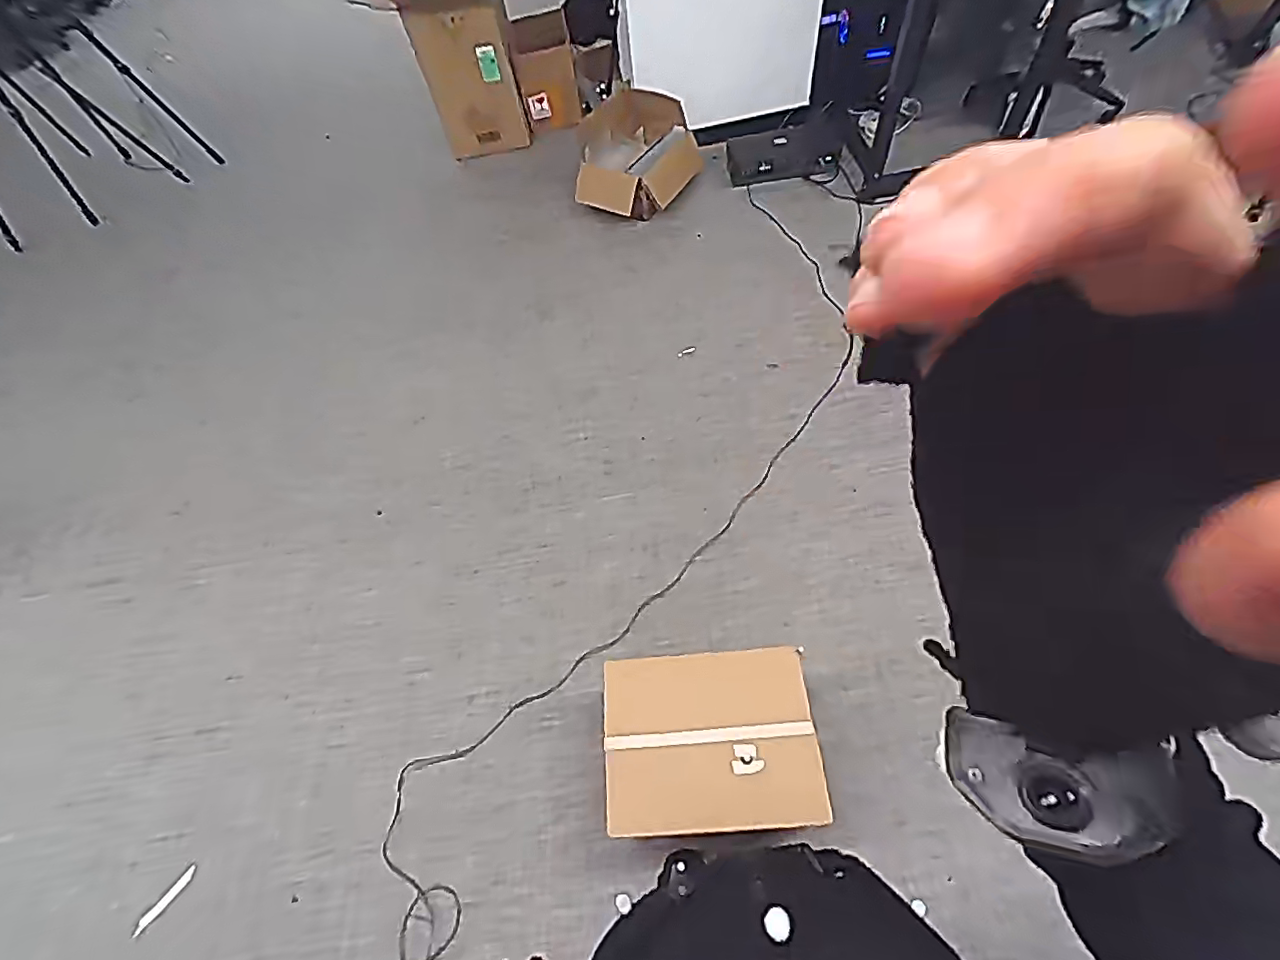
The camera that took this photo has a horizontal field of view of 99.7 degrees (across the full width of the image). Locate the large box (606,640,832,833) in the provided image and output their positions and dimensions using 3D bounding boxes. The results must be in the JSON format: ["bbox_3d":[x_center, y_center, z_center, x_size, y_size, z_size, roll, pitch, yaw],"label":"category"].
[{"bbox_3d":[0.149,0.560,1.170,0.408,0.320,0.320,-6,59,3],"label":"large box"}]
